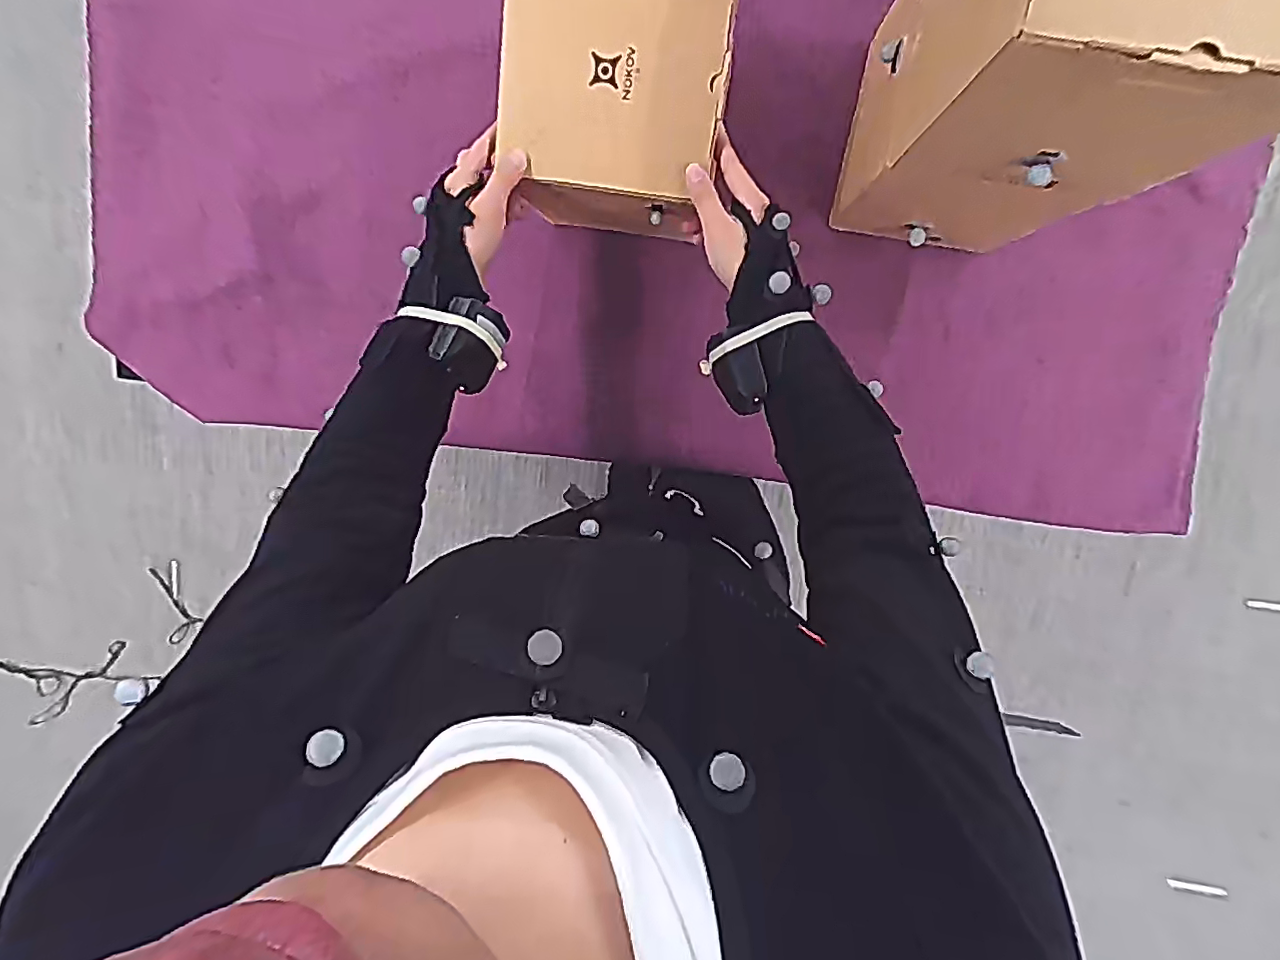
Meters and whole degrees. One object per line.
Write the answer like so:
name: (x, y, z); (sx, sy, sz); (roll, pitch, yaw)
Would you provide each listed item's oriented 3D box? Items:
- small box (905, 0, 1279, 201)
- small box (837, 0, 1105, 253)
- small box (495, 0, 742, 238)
small box: (0.278, -0.289, 0.307); (0.168, 0.176, 0.179); (11, 101, 4)
small box: (0.289, -0.319, 0.469); (0.168, 0.176, 0.179); (11, 101, 3)
small box: (-0.013, -0.331, 0.489); (0.179, 0.176, 0.168); (9, 103, 2)
